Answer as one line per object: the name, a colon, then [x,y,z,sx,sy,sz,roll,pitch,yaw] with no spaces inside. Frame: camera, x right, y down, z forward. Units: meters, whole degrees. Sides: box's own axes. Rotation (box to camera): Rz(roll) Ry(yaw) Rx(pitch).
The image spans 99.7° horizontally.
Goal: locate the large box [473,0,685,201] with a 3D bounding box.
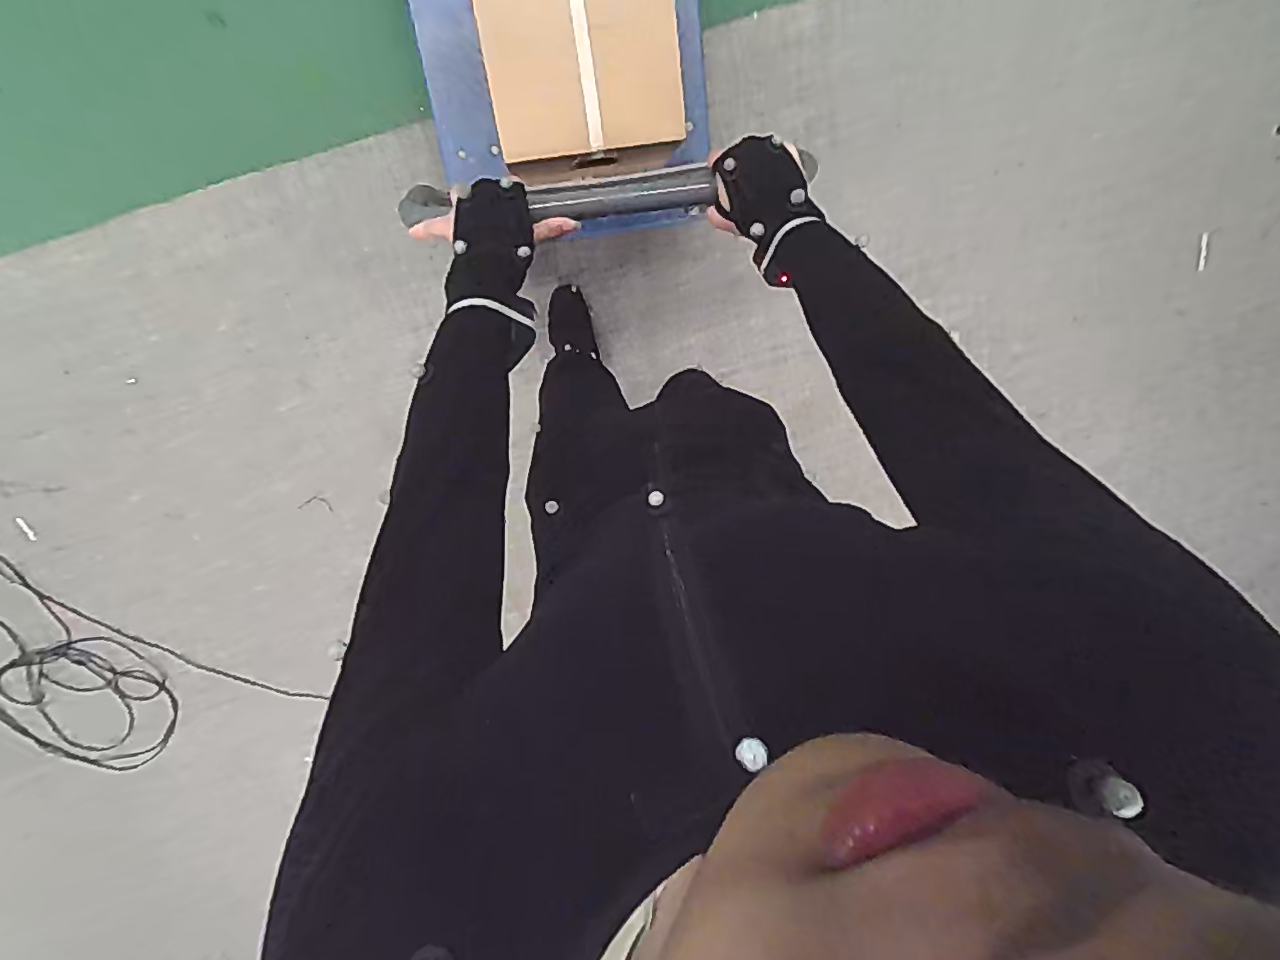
large box: [-0.116,-0.782,1.001,0.320,0.320,0.408,-10,109,-3]
